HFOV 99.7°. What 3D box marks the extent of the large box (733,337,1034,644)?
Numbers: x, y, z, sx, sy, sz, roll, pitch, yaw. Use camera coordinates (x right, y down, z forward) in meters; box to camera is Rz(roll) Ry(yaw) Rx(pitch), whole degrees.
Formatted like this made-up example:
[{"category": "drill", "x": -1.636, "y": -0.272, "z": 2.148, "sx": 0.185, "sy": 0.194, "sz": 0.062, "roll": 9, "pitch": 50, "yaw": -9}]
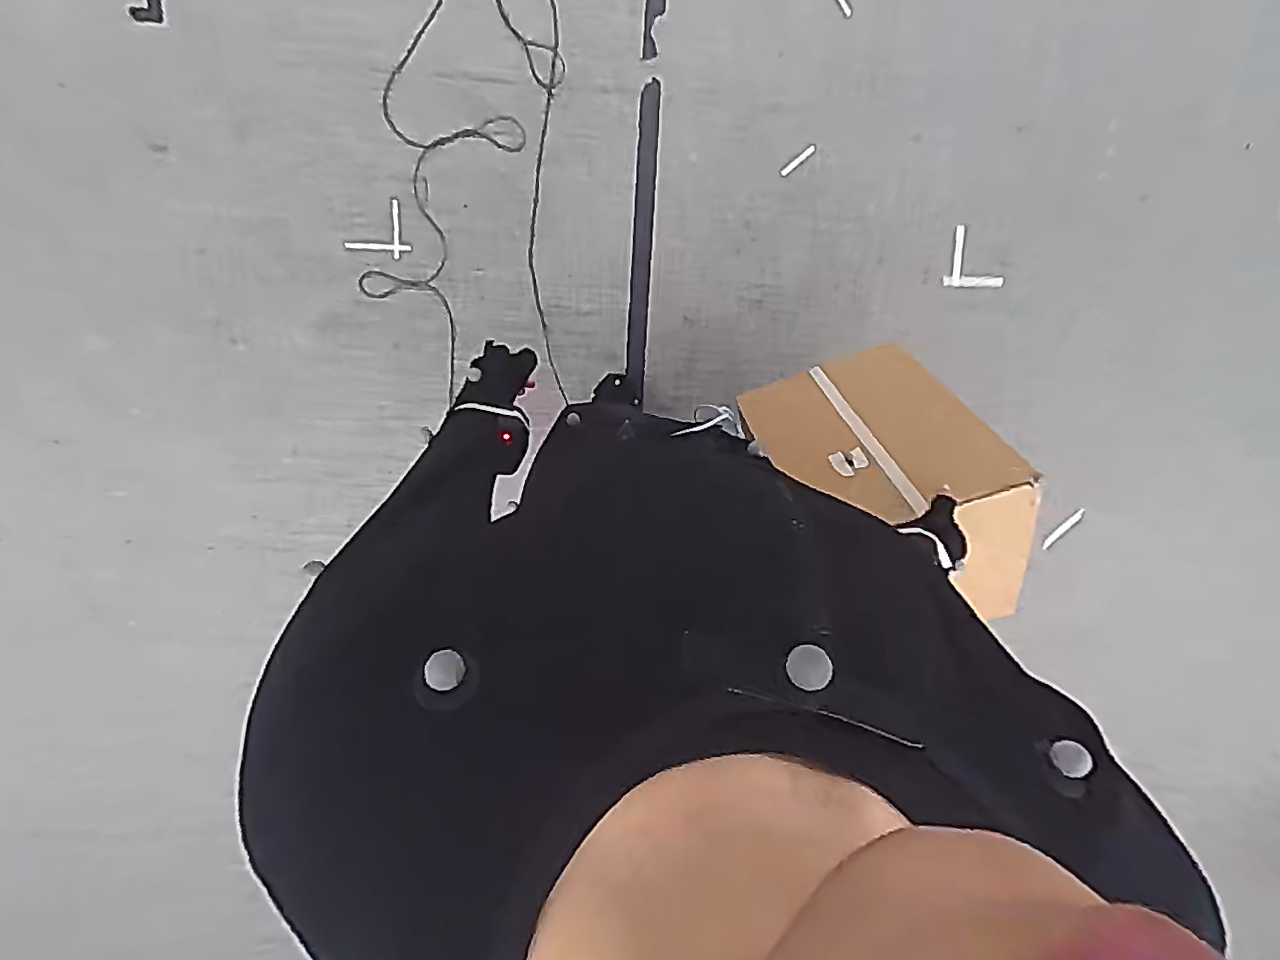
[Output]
[{"category": "large box", "x": 0.395, "y": 0.011, "z": 0.974, "sx": 0.320, "sy": 0.408, "sz": 0.320, "roll": -20, "pitch": 132, "yaw": 7}]
